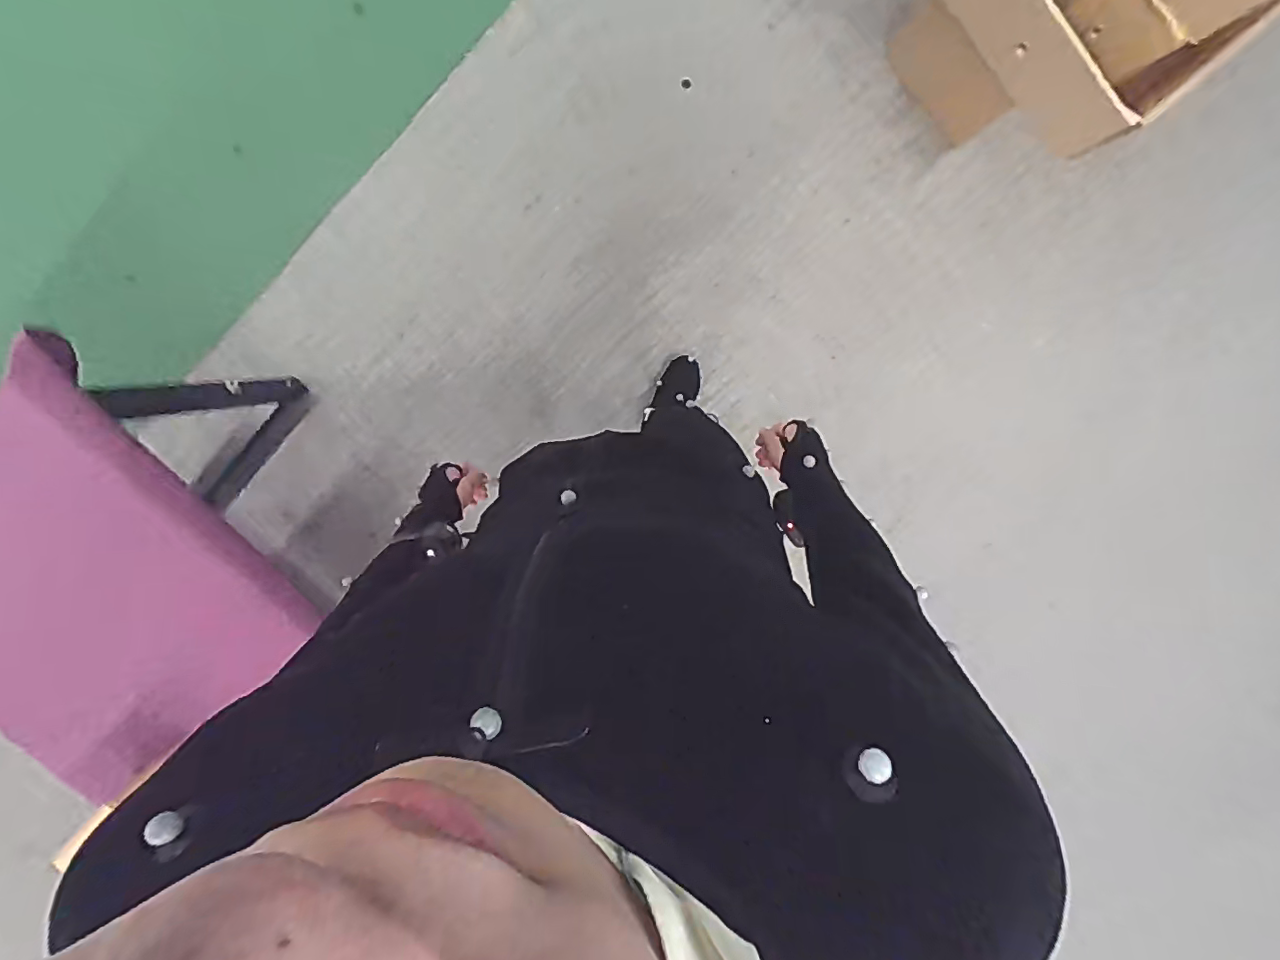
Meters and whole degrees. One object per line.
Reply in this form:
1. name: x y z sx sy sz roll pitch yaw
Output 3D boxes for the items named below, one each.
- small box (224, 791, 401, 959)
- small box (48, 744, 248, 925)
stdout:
1. small box: -0.570 0.712 0.968 0.179 0.176 0.168 -42 99 10
2. small box: -0.849 0.614 0.957 0.179 0.176 0.168 -44 97 10
